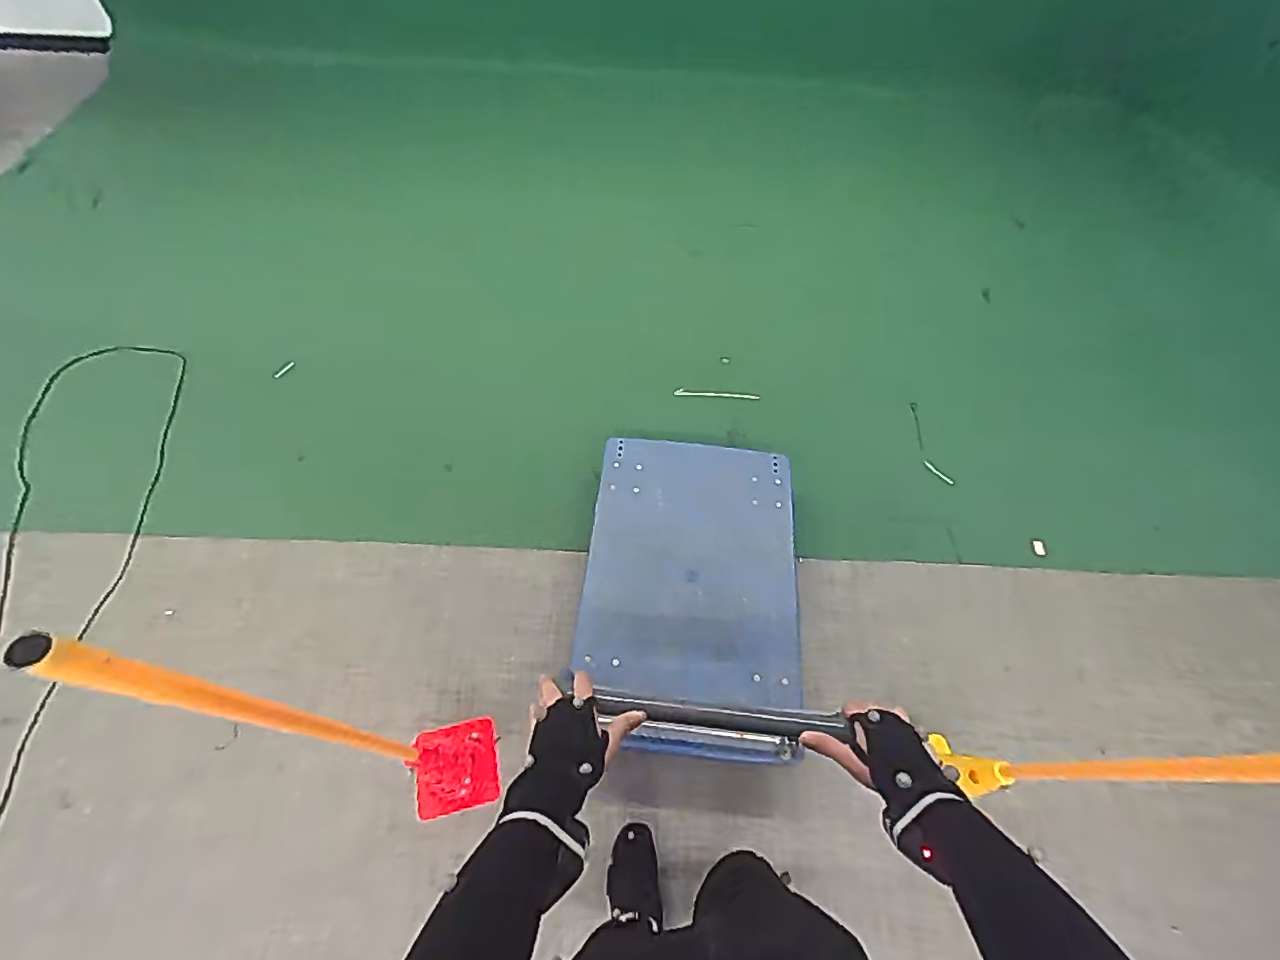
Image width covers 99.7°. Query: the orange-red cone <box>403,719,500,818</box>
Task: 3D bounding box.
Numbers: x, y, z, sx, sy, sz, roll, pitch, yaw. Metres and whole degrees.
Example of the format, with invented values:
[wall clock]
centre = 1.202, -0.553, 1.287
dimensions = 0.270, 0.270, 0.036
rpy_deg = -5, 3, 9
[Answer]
[orange-red cone]
centre = -0.454, 0.634, 1.215
dimensions = 0.199, 0.360, 0.198
rpy_deg = -11, 59, -7
